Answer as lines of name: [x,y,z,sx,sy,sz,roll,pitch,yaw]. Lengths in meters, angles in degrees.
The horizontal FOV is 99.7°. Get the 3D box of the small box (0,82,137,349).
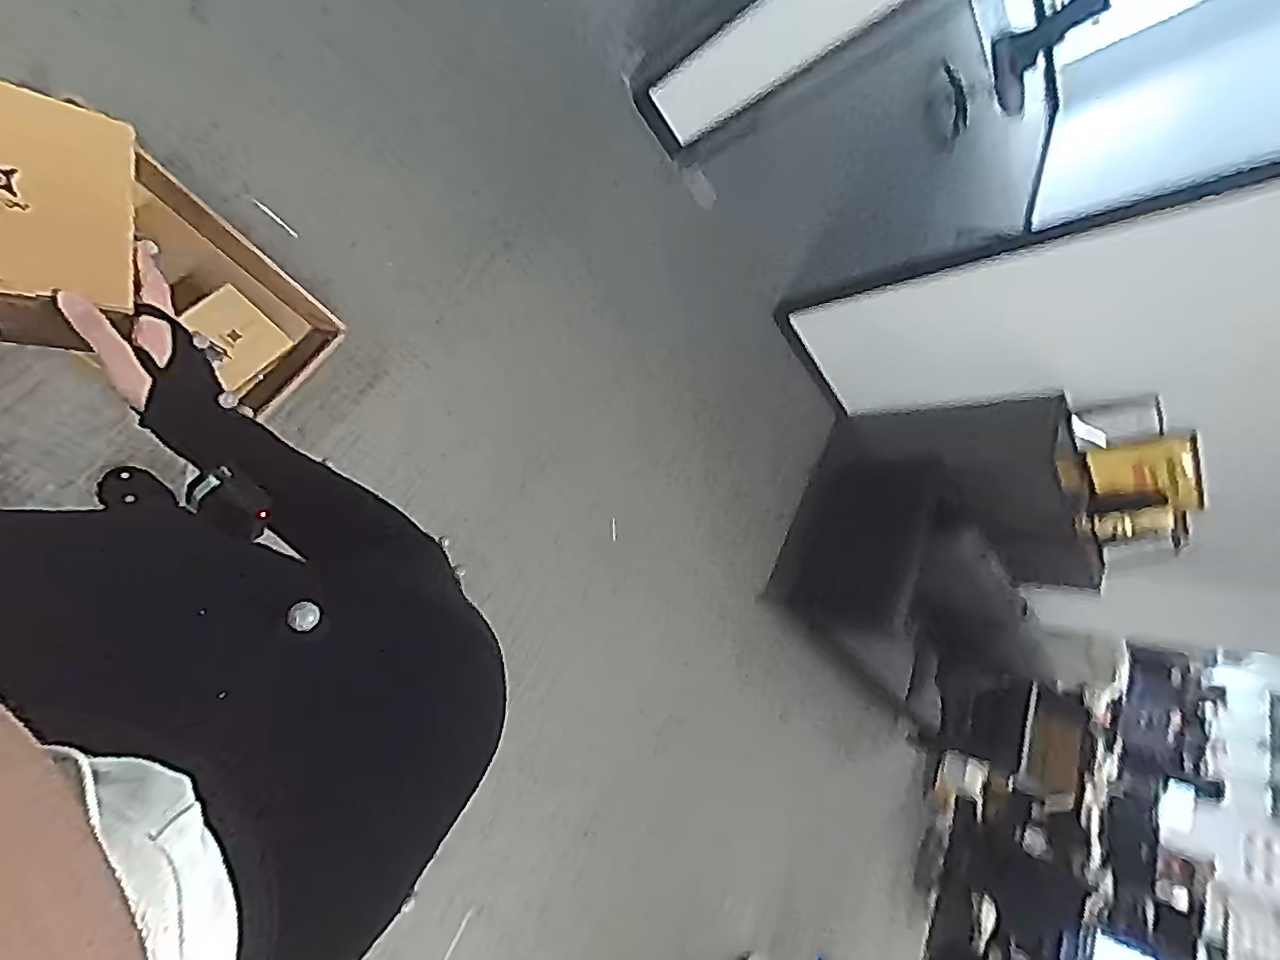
small box: [-0.573,-0.232,0.487,0.168,0.176,0.179,-1,88,-46]
